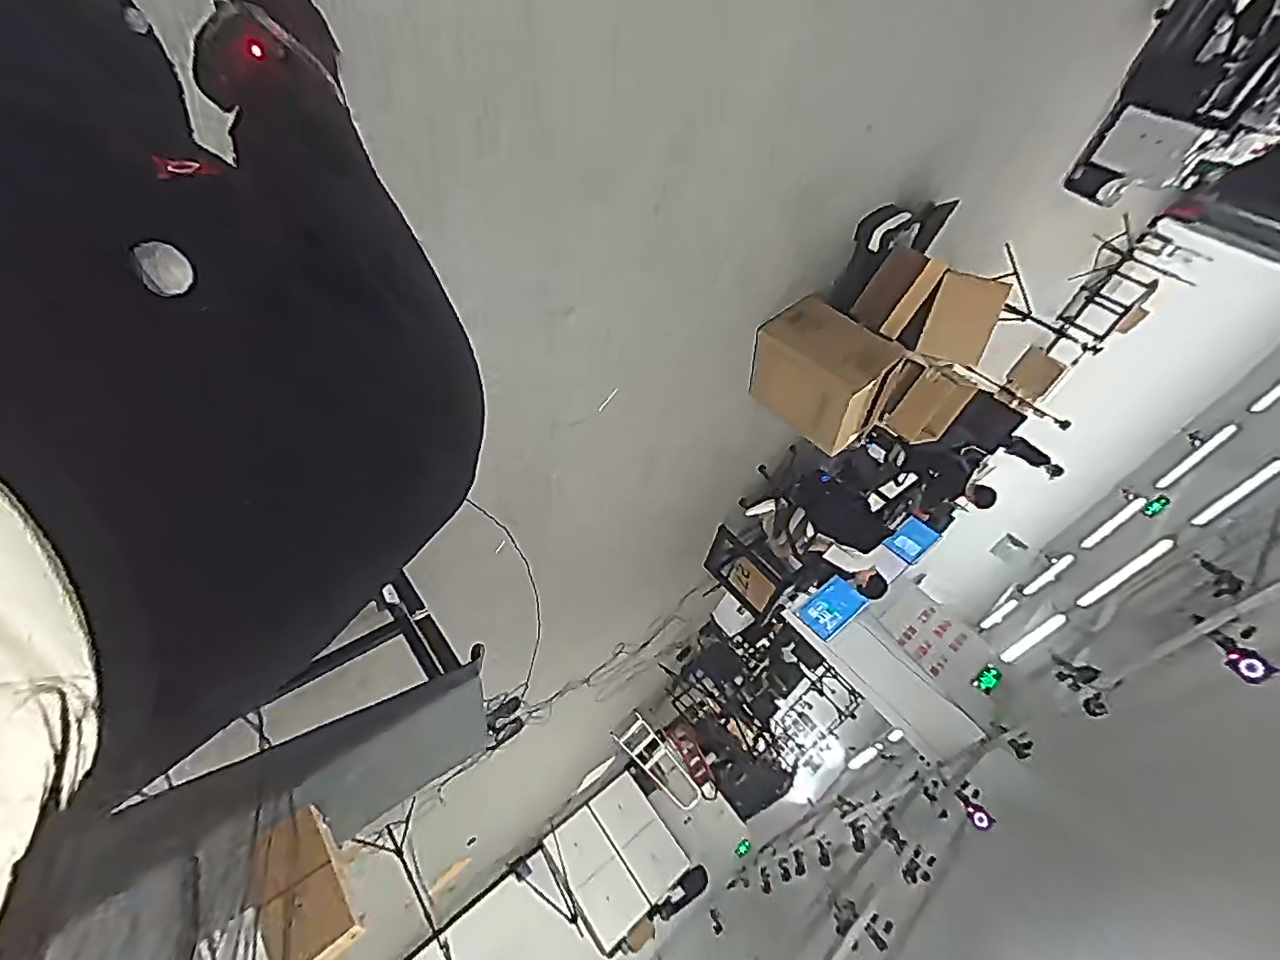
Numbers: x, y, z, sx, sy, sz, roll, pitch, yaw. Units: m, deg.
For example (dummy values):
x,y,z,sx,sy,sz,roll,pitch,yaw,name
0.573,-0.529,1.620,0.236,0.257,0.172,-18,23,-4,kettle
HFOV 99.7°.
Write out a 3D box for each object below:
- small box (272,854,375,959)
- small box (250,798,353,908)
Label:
x,y,z,sx,sy,sz,roll,pitch,yaw,name
-0.799,1.097,1.364,0.179,0.176,0.168,-25,148,-33,small box
-0.902,0.994,1.439,0.179,0.176,0.168,-29,150,-32,small box
